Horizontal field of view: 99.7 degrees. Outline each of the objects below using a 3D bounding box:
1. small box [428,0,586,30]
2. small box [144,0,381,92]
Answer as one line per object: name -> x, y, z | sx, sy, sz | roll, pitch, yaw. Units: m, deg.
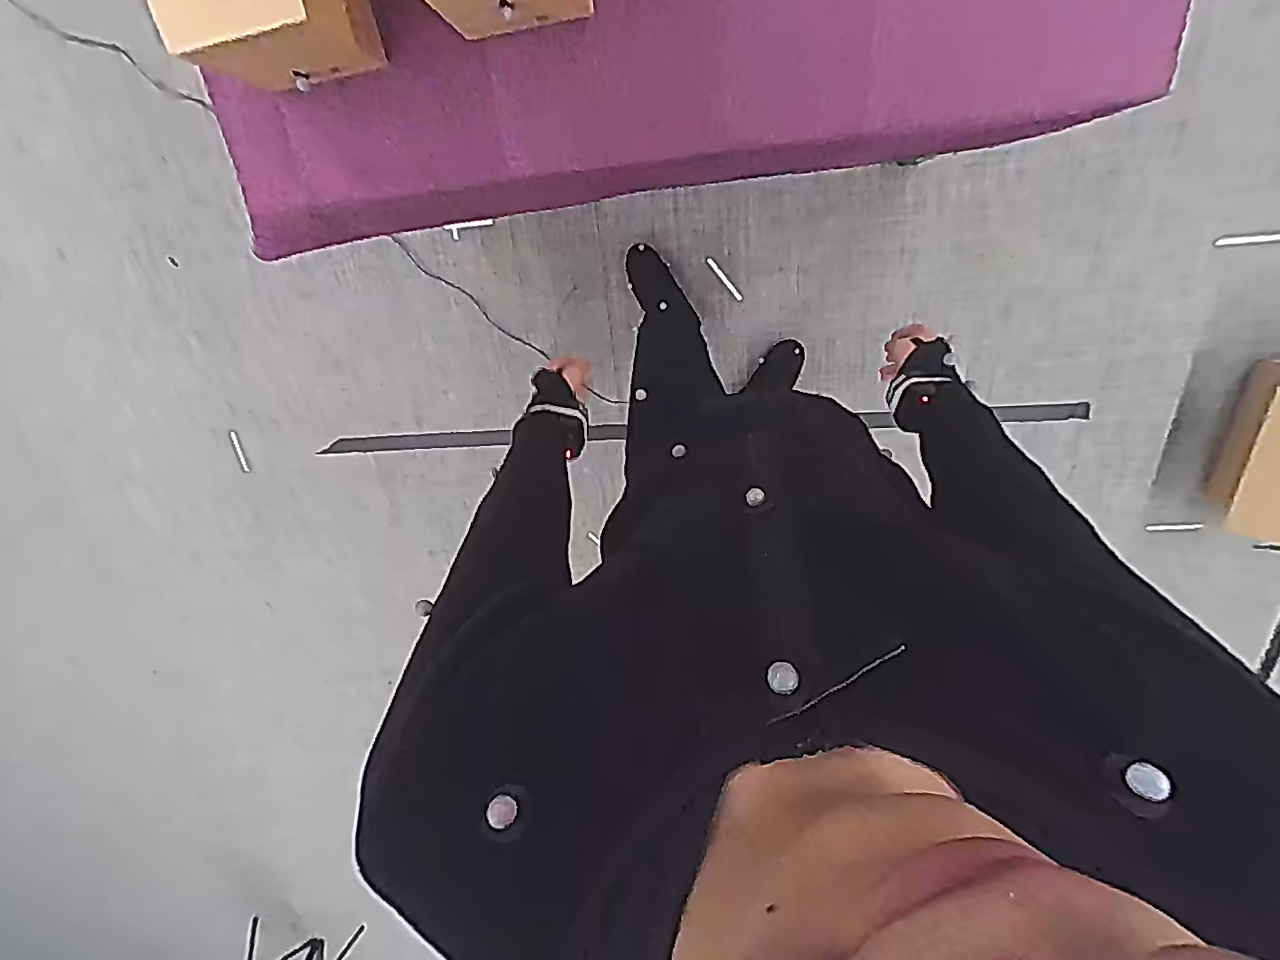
small box -> -0.157, -0.607, 0.564 | 0.168, 0.176, 0.179 | -5, 113, 6
small box -> -0.427, -0.570, 0.602 | 0.168, 0.176, 0.179 | -7, 113, 8
